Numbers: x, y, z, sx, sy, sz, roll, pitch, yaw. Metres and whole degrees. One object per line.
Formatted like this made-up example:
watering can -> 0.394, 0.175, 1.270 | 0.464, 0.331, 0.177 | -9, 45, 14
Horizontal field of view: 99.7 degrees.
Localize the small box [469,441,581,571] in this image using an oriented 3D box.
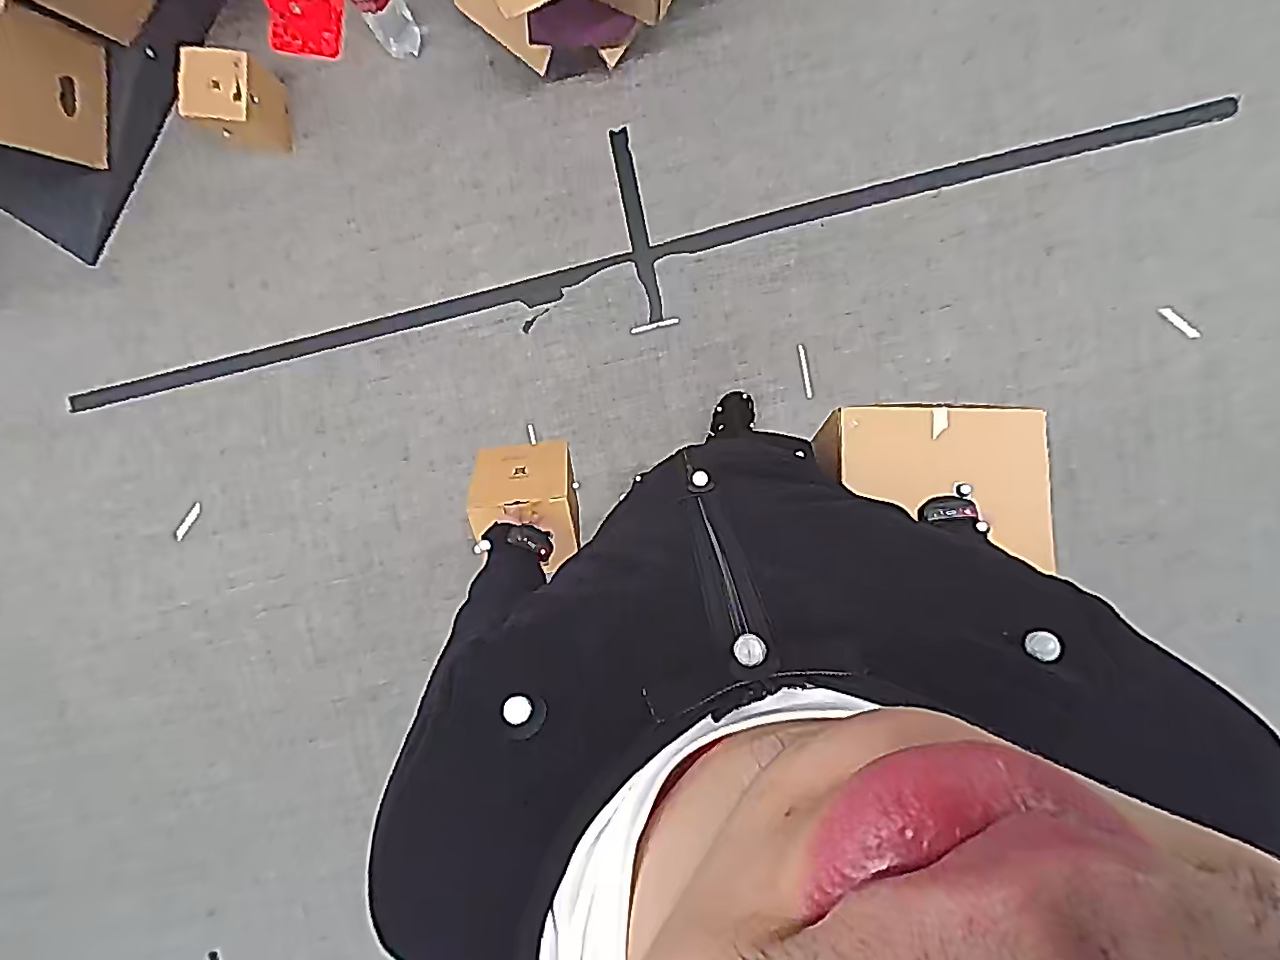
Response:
small box -> -0.200, 0.051, 0.992 | 0.168, 0.179, 0.176 | -6, 127, -3
